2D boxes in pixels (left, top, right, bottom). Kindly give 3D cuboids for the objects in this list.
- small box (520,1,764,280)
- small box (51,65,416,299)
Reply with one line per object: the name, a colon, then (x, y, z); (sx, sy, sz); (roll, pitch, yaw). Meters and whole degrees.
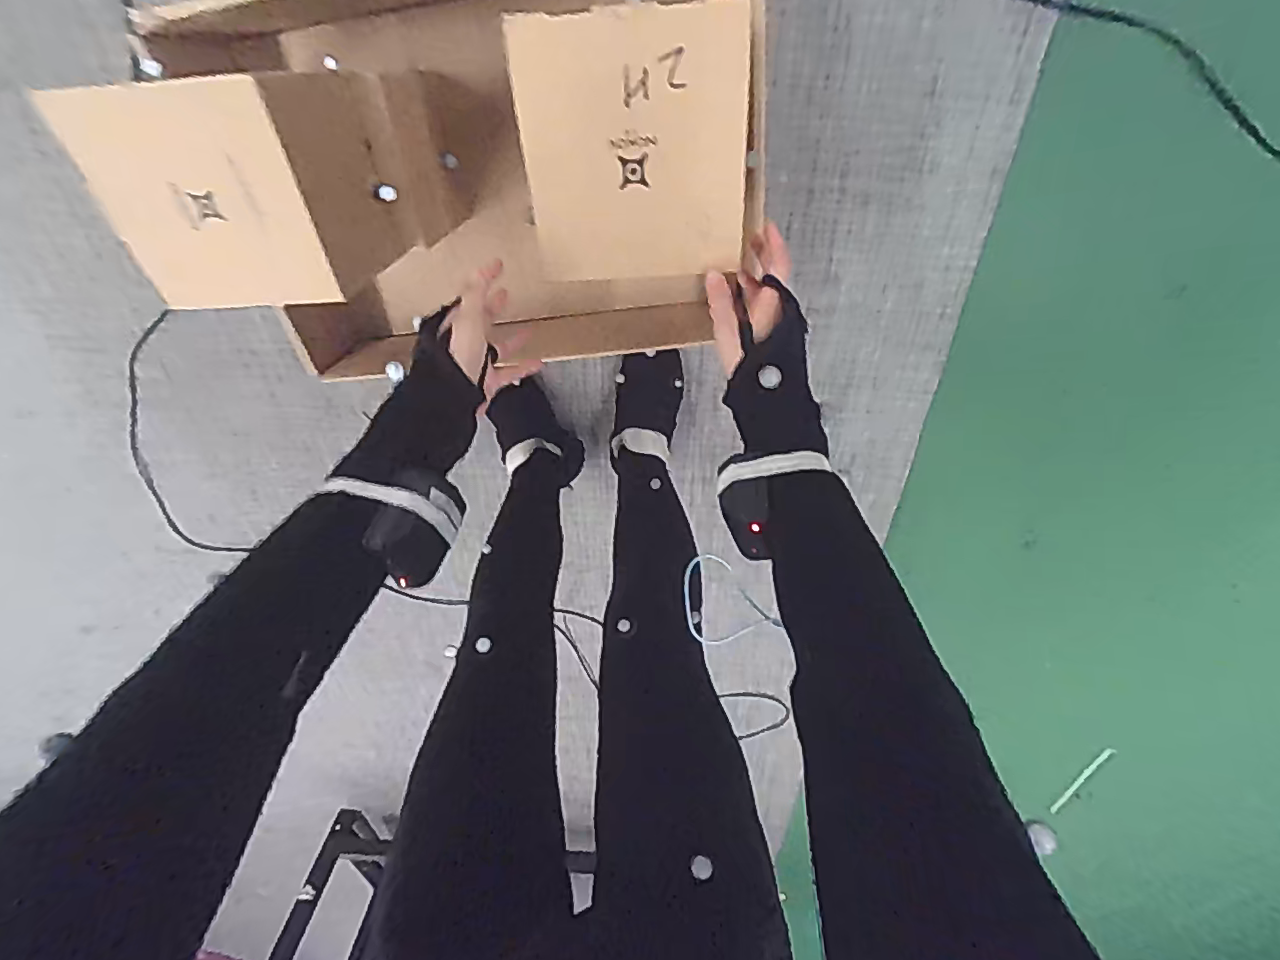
small box: (0.007, -0.287, 0.469); (0.168, 0.176, 0.179); (-1, 125, 3)
small box: (-0.341, -0.277, 0.501); (0.179, 0.176, 0.168); (-1, 127, 3)
